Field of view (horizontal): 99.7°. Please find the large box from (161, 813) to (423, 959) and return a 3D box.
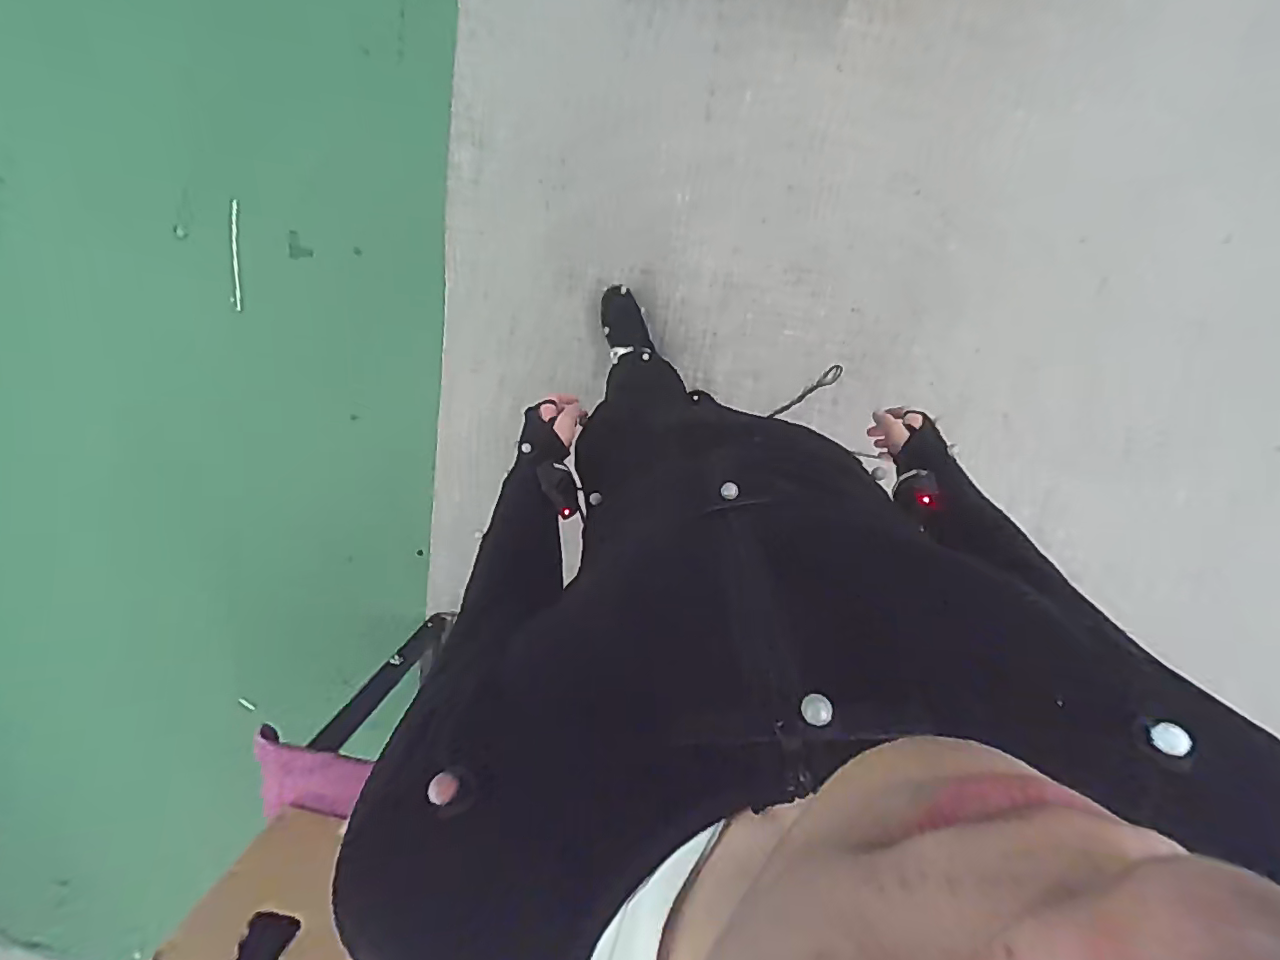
[{"bbox_3d":[-0.645,0.961,1.058,0.320,0.320,0.408,9,105,3],"label":"large box"}]
